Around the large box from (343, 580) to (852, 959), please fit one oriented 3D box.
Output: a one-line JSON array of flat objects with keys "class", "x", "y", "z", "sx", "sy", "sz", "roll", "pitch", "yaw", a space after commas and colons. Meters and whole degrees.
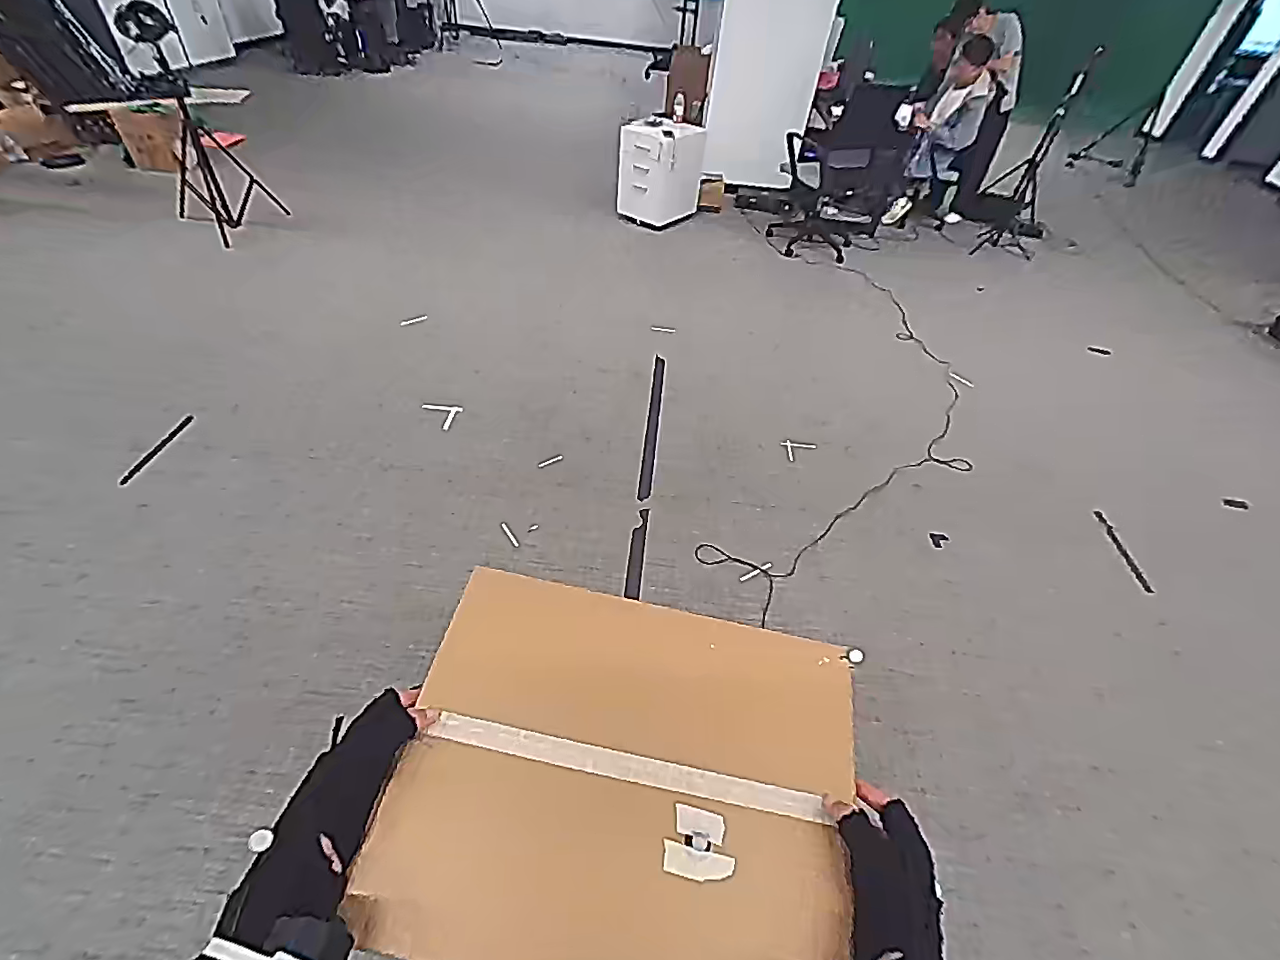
[{"class": "large box", "x": -0.025, "y": 0.352, "z": 0.612, "sx": 0.408, "sy": 0.320, "sz": 0.320, "roll": 12, "pitch": 54, "yaw": 1}]
